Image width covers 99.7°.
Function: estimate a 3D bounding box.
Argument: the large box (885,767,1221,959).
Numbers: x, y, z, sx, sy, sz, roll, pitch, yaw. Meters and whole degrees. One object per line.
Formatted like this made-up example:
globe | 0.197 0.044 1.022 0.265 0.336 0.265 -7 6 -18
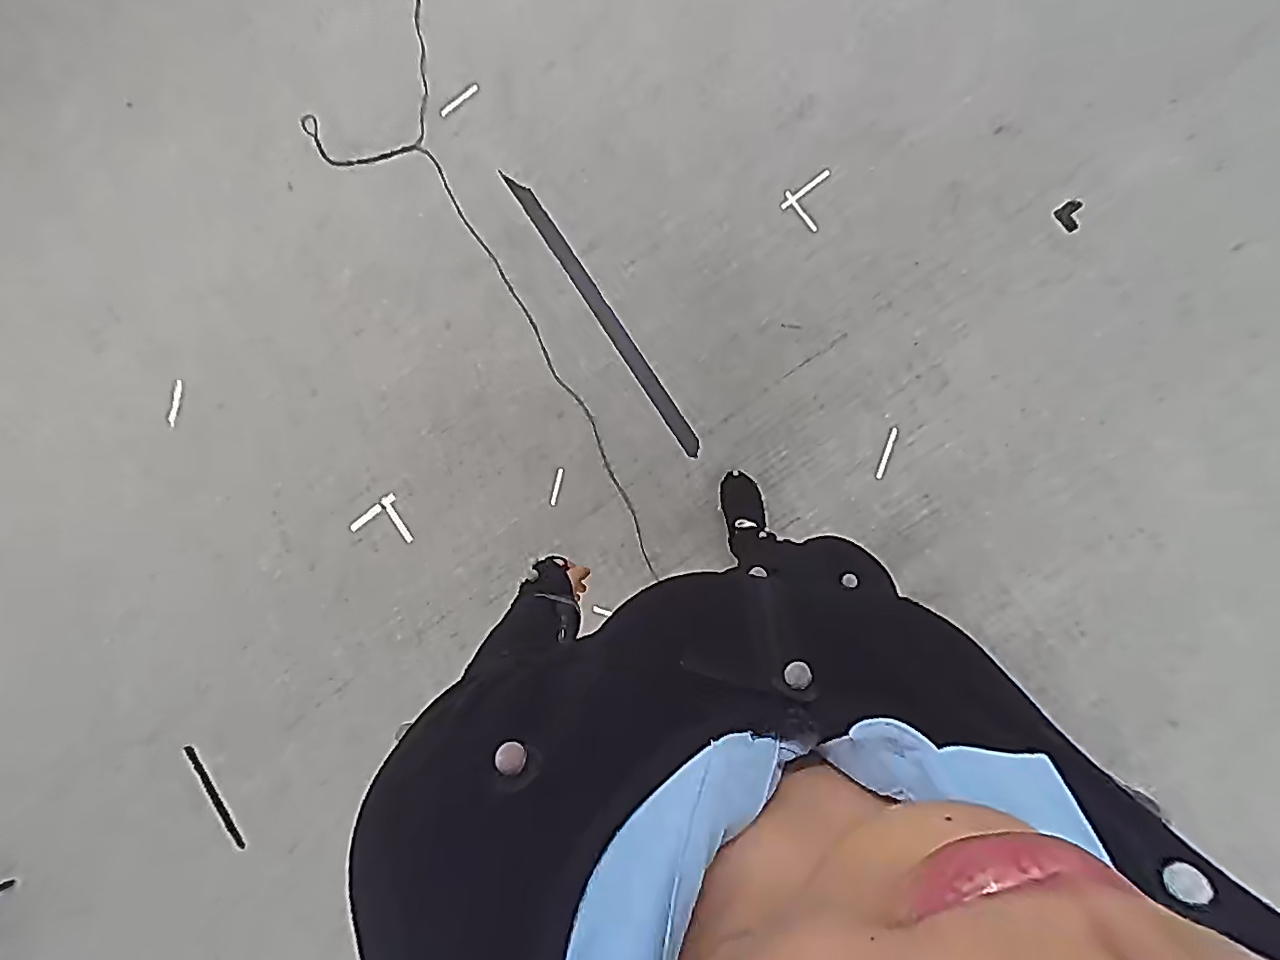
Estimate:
large box | 0.775 0.869 1.054 0.408 0.320 0.320 -41 83 4
